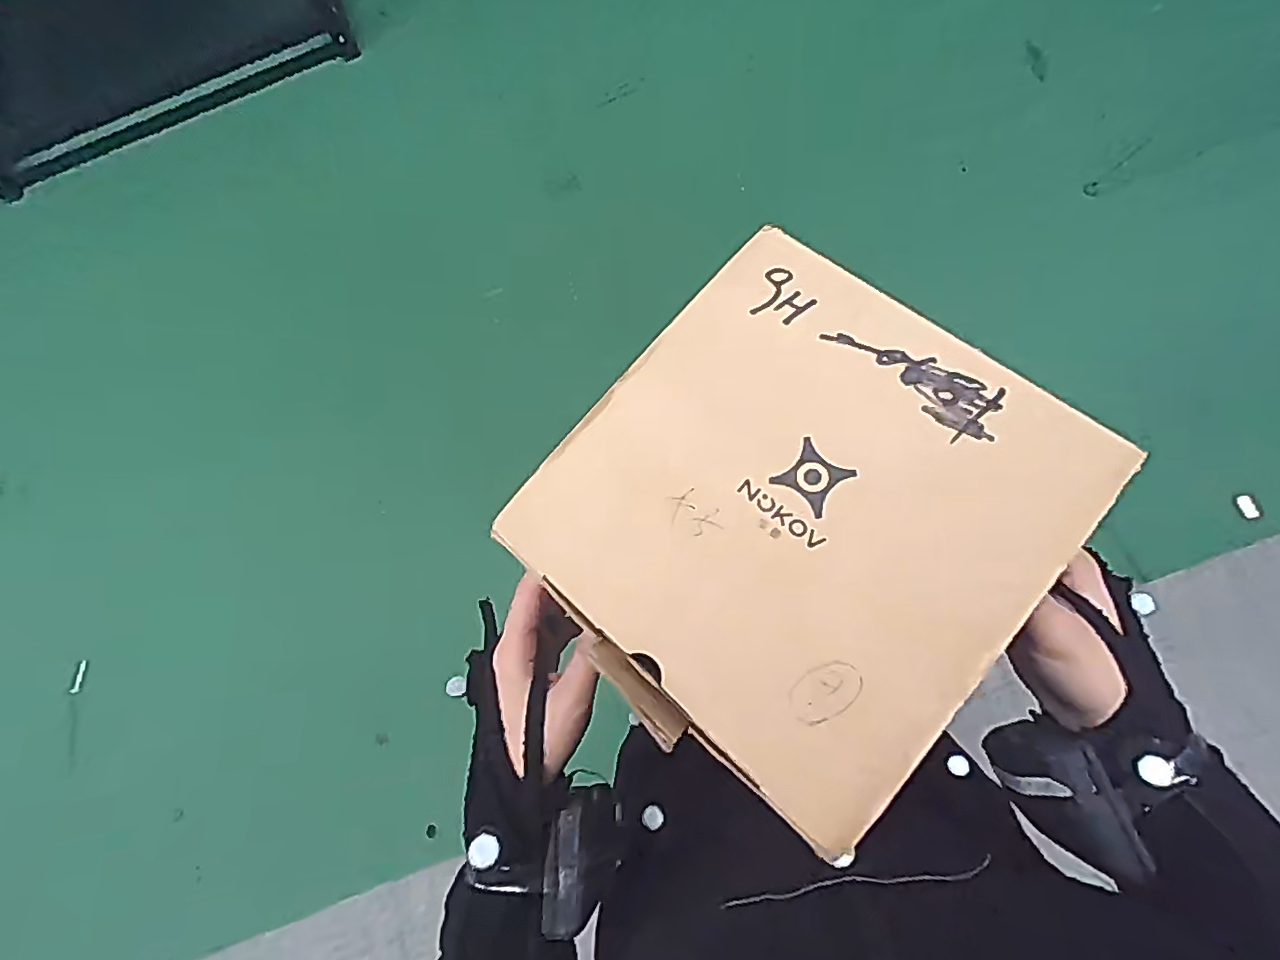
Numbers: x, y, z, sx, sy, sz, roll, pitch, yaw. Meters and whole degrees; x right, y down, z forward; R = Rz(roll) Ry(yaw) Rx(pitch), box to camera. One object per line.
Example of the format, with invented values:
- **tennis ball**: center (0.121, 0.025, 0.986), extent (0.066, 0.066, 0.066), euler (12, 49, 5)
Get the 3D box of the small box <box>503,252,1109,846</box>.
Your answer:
- **small box**: center (0.068, 0.032, 0.286), extent (0.168, 0.176, 0.179), euler (40, 84, 15)
